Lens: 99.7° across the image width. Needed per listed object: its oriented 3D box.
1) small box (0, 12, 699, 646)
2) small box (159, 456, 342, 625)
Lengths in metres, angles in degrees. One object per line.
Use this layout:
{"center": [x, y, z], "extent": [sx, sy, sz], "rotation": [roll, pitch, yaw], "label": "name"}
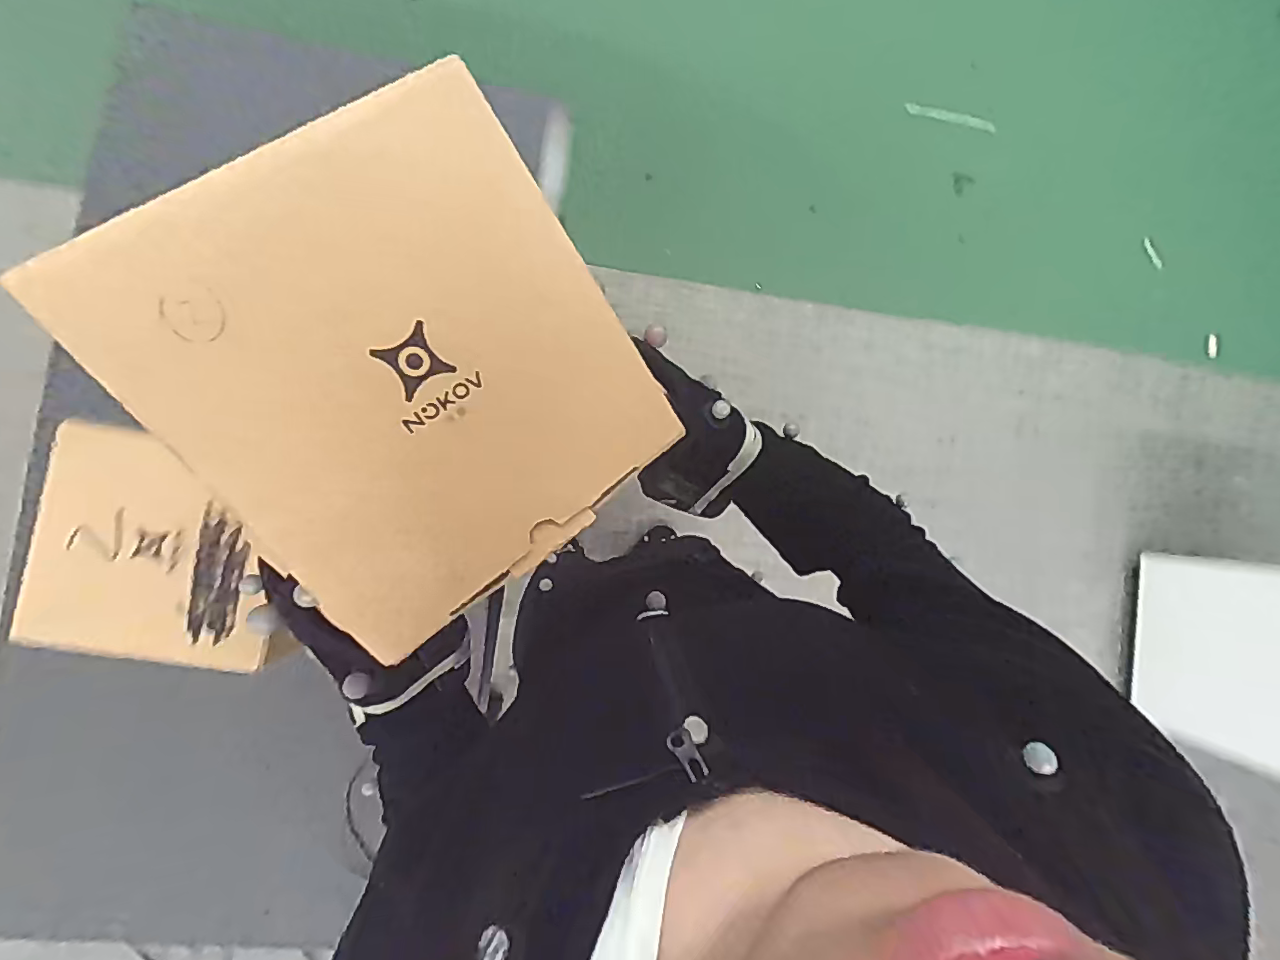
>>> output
{"center": [-0.109, -0.059, 0.269], "extent": [0.168, 0.176, 0.179], "rotation": [-38, 109, -15], "label": "small box"}
{"center": [-0.389, 0.056, 0.631], "extent": [0.179, 0.176, 0.168], "rotation": [12, 87, -7], "label": "small box"}
